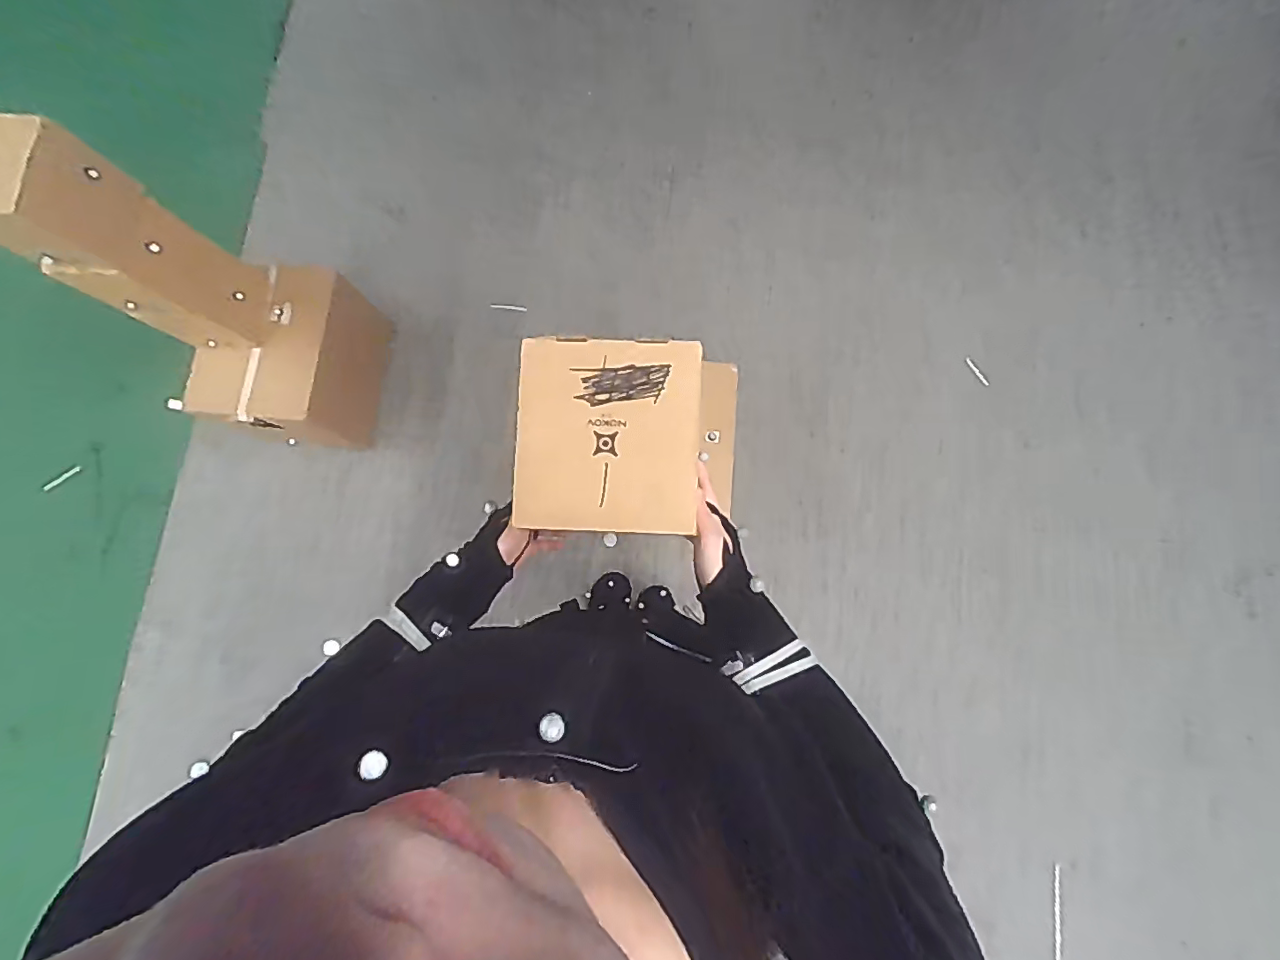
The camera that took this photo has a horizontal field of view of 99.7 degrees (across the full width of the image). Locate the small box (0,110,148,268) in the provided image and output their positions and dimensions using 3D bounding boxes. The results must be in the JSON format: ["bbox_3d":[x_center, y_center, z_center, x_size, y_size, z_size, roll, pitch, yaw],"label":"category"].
[{"bbox_3d":[-1.015,-0.498,0.936,0.168,0.176,0.179,6,82,6],"label":"small box"}]

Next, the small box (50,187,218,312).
[{"bbox_3d":[-1.009,-0.464,1.096,0.168,0.176,0.179,5,82,5],"label":"small box"}]

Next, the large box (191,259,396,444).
[{"bbox_3d":[-0.918,-0.332,1.484,0.320,0.320,0.408,5,80,3],"label":"large box"}]

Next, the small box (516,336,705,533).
[{"bbox_3d":[-0.023,-0.037,0.566,0.168,0.176,0.179,2,86,4],"label":"small box"}]
